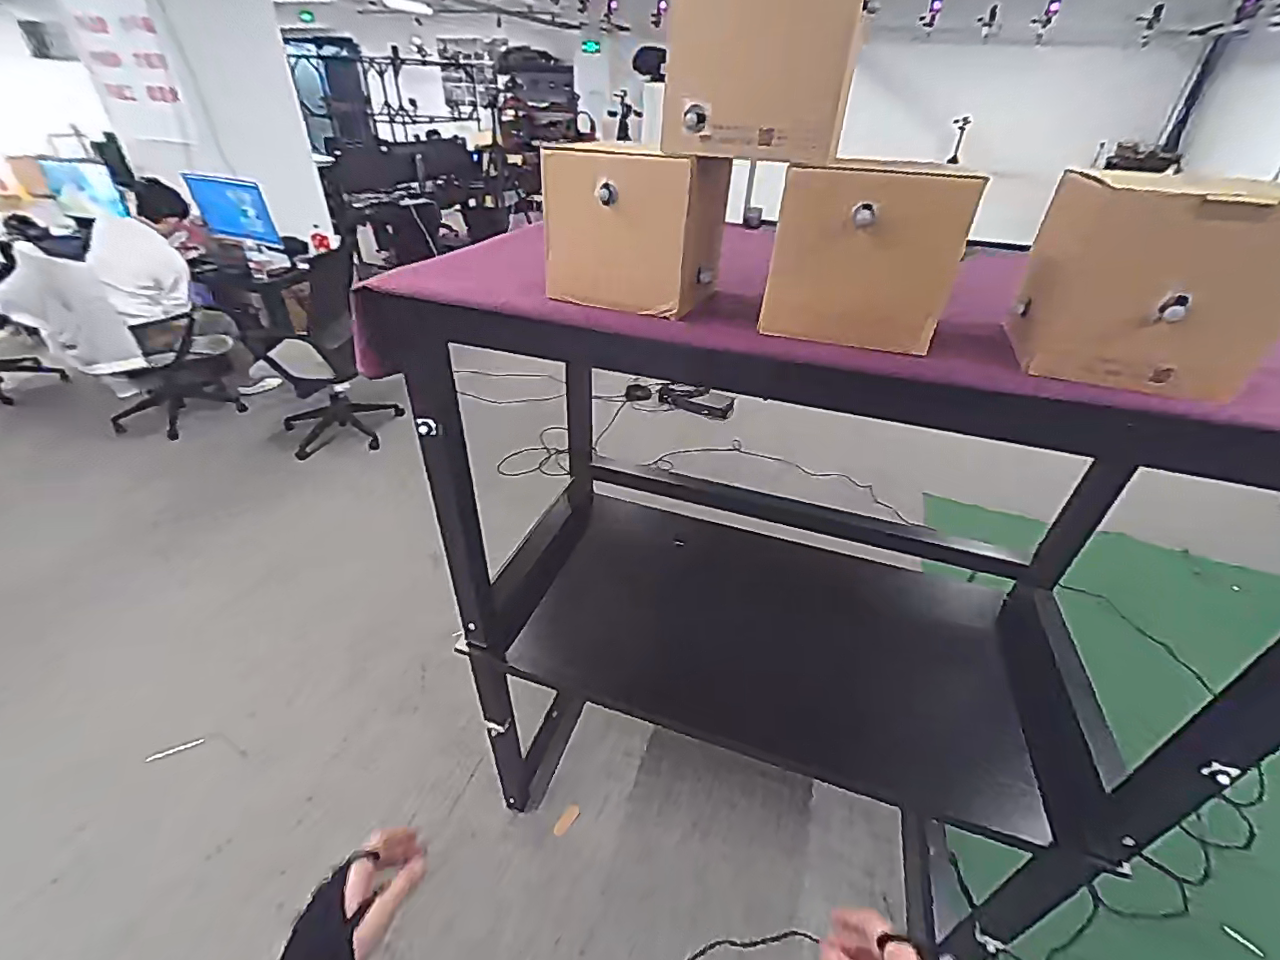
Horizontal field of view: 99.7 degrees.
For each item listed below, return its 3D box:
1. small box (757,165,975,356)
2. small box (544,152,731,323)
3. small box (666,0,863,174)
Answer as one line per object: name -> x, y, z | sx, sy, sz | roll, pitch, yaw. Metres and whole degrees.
small box -> 0.241, -0.251, 0.612 | 0.179, 0.176, 0.168 | 11, 34, 14
small box -> -0.001, -0.306, 0.677 | 0.179, 0.176, 0.168 | 16, 36, 18
small box -> 0.129, -0.422, 0.564 | 0.168, 0.176, 0.179 | 13, 34, 15
